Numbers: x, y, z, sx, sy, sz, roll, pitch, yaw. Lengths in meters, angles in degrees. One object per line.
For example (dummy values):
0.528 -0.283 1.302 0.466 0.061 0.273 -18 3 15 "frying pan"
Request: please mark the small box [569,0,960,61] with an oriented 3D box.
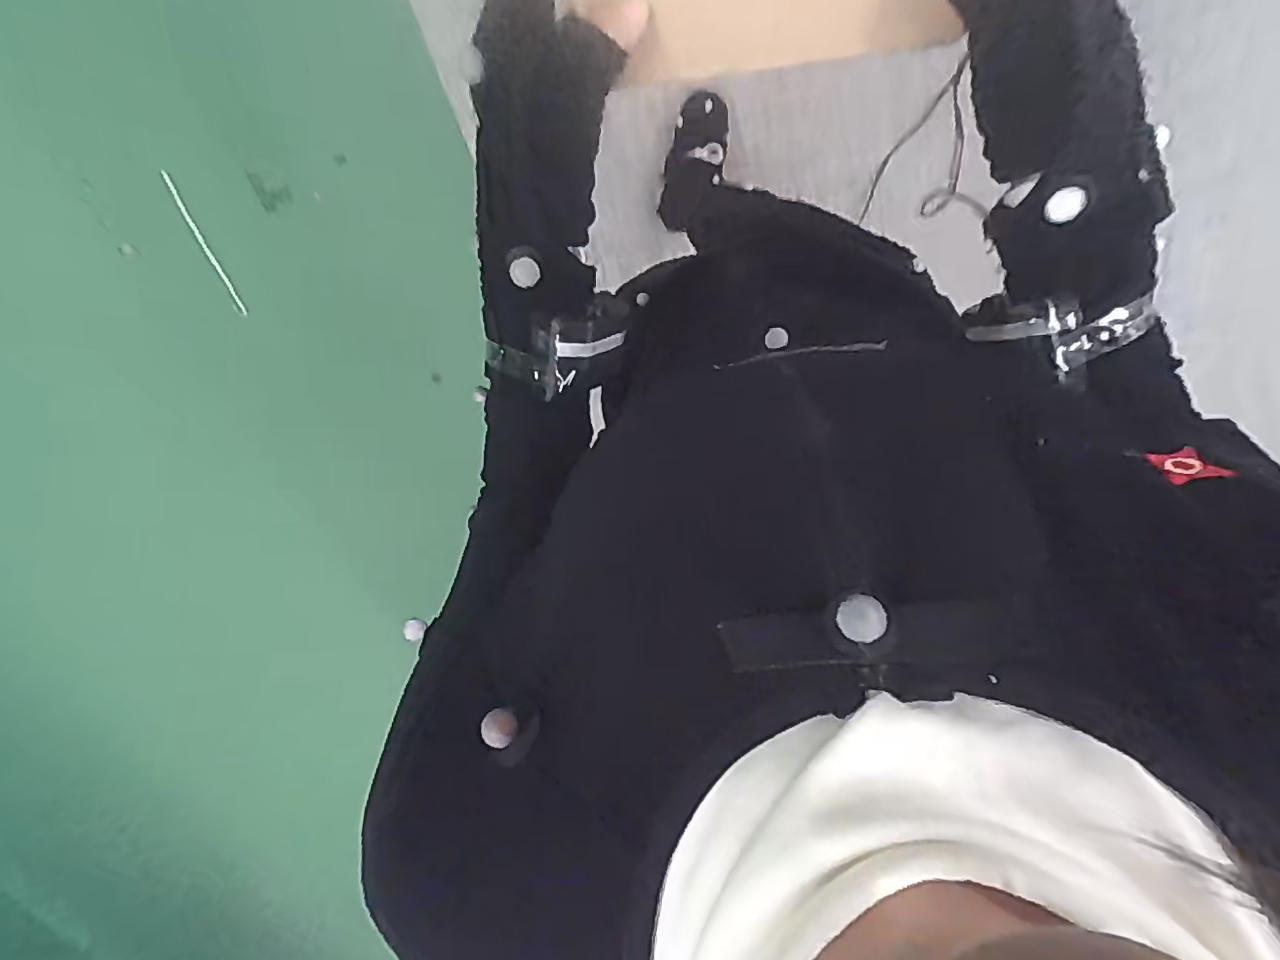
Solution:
0.054 -0.316 0.242 0.179 0.176 0.168 0 140 6 "small box"
